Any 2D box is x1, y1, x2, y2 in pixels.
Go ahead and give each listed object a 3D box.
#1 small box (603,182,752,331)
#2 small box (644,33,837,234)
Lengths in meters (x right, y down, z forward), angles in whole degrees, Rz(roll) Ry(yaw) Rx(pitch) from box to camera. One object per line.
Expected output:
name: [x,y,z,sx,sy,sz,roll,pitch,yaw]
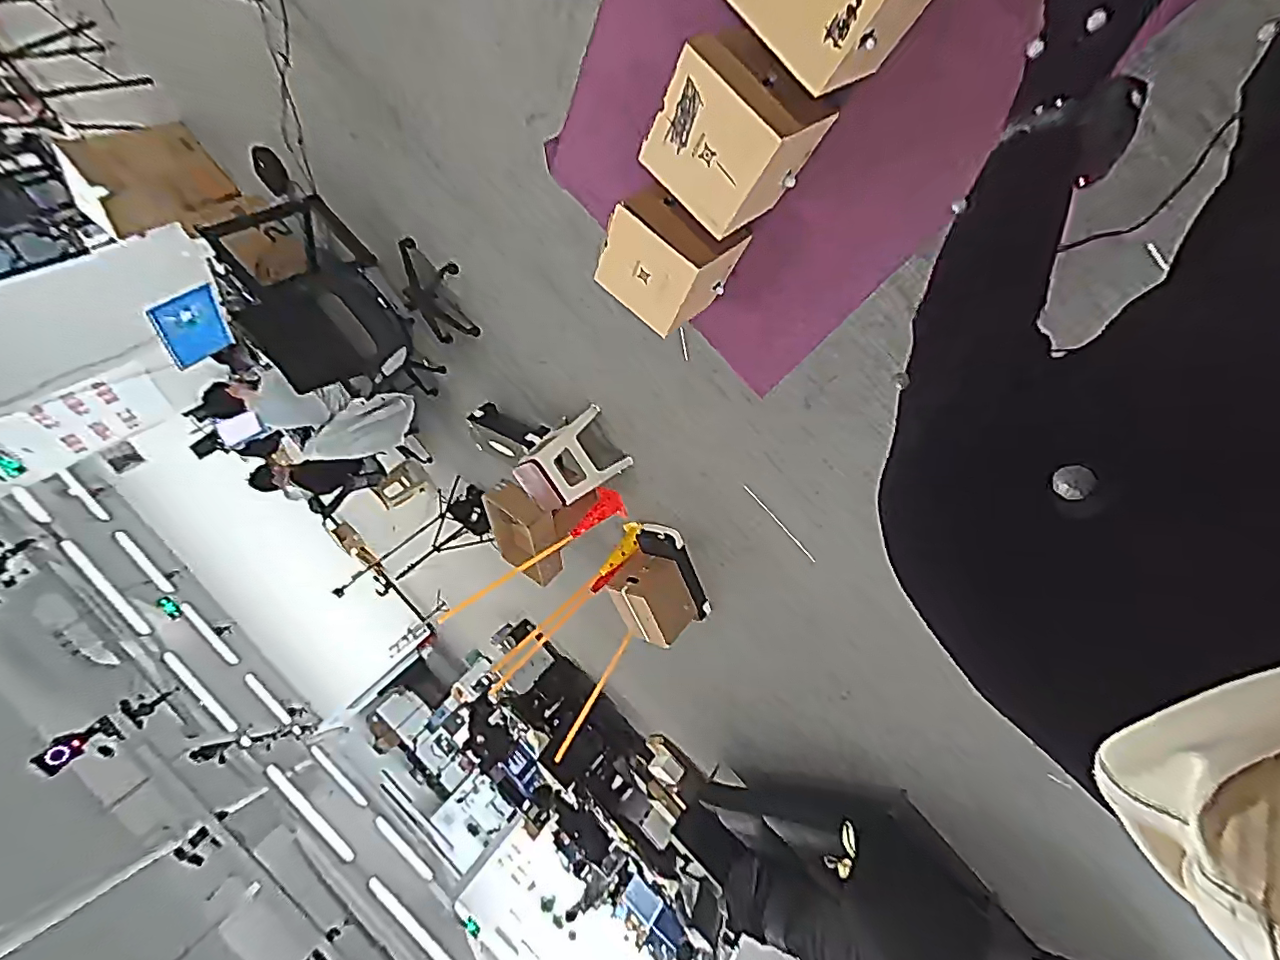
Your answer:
small box: [0.066,-0.412,0.977,0.179,0.176,0.168,44,149,5]
small box: [0.143,-0.502,0.783,0.179,0.176,0.168,46,149,1]
